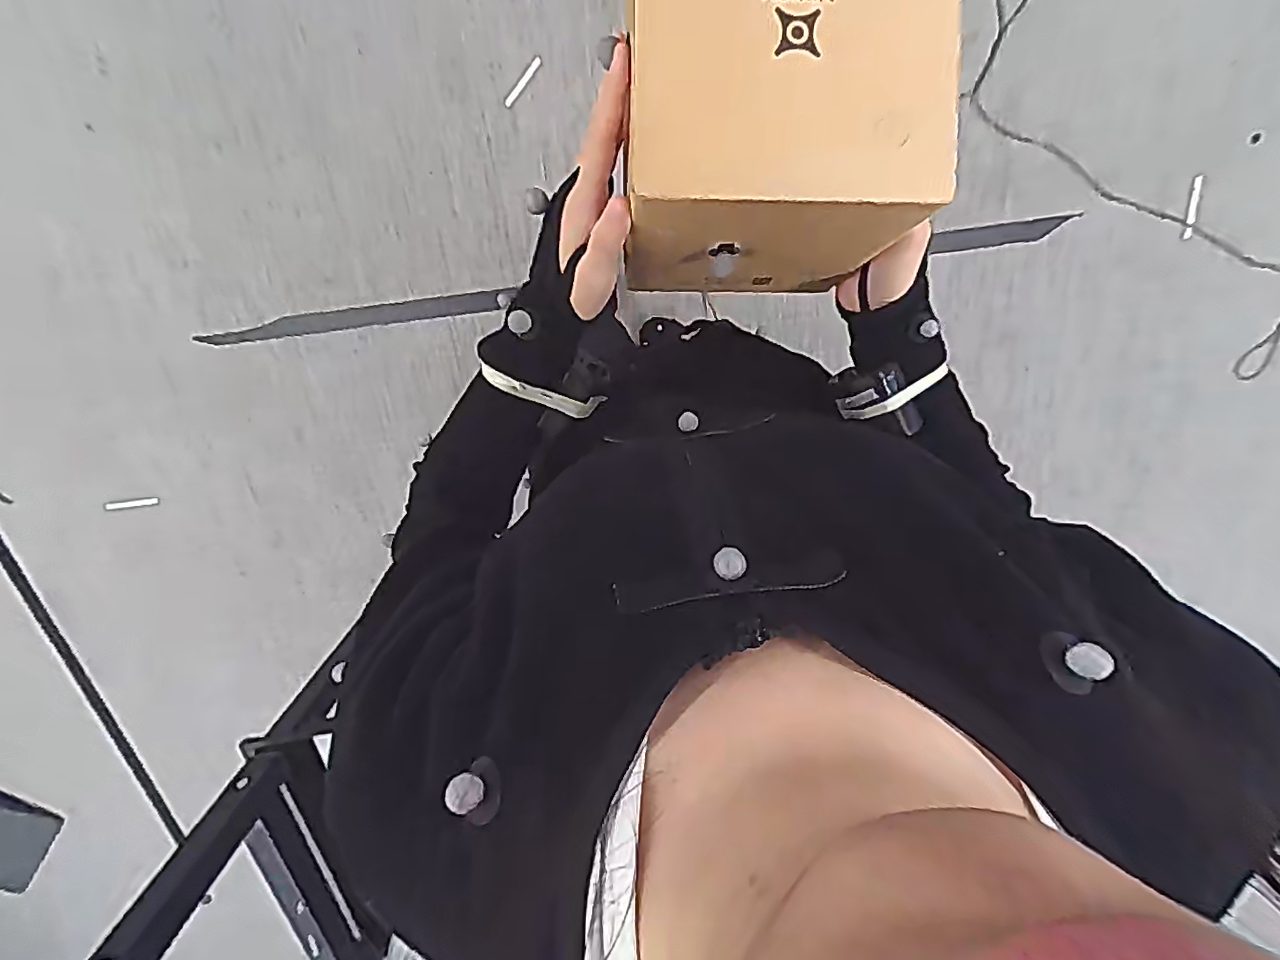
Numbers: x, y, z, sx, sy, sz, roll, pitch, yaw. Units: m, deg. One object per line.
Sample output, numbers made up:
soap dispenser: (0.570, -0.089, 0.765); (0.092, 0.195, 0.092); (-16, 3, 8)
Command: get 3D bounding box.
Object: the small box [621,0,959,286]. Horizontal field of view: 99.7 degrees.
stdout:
small box: (0.073, -0.233, 0.346); (0.168, 0.176, 0.179); (-1, 93, -3)
